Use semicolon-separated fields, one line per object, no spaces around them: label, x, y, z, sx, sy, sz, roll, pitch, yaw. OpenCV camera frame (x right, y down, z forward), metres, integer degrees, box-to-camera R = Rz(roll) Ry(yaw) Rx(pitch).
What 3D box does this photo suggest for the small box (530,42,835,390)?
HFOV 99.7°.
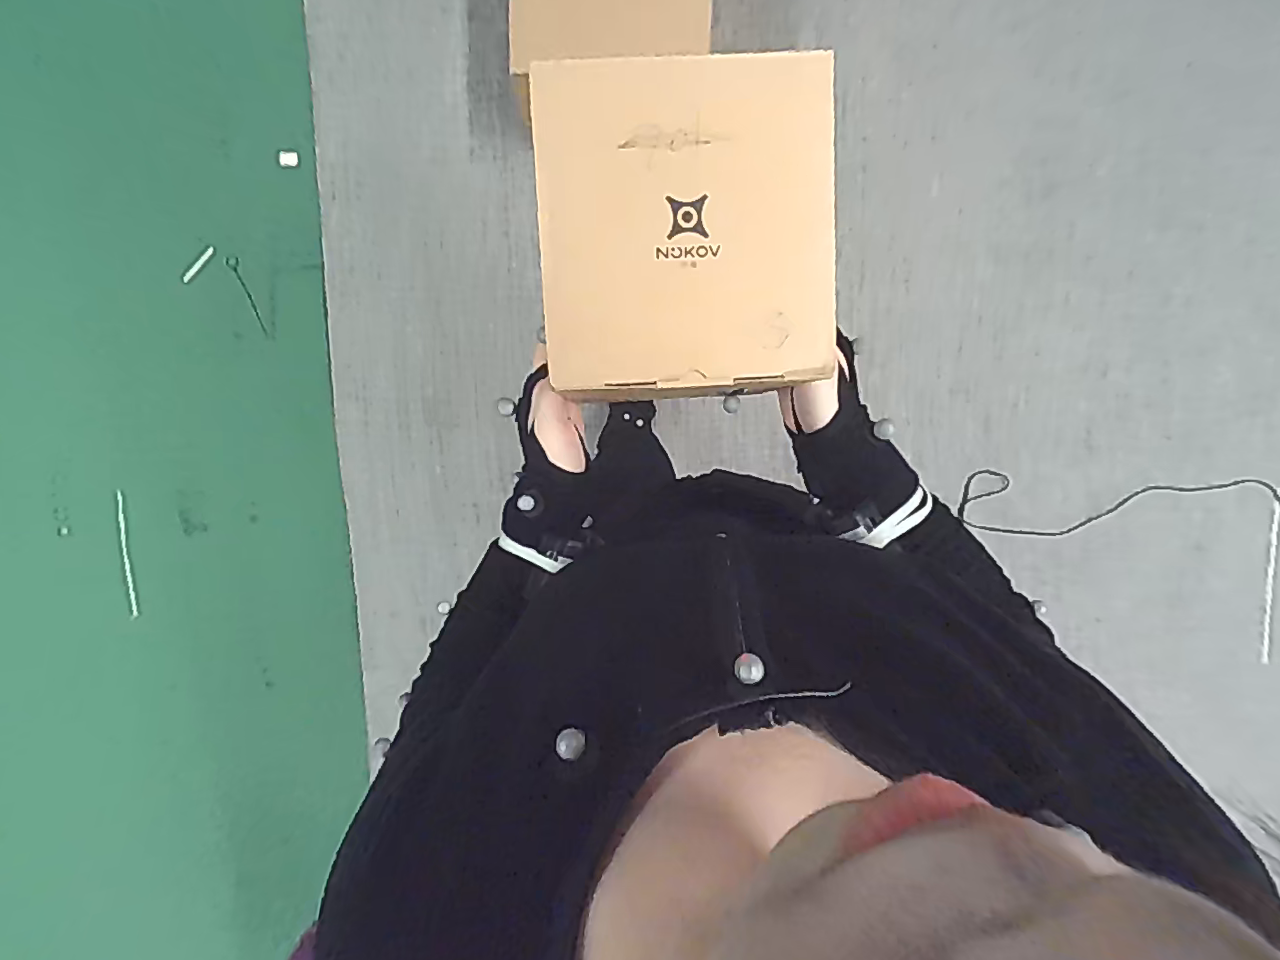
small box;0.023;-0.154;0.376;0.168;0.176;0.179;-2;96;-2
